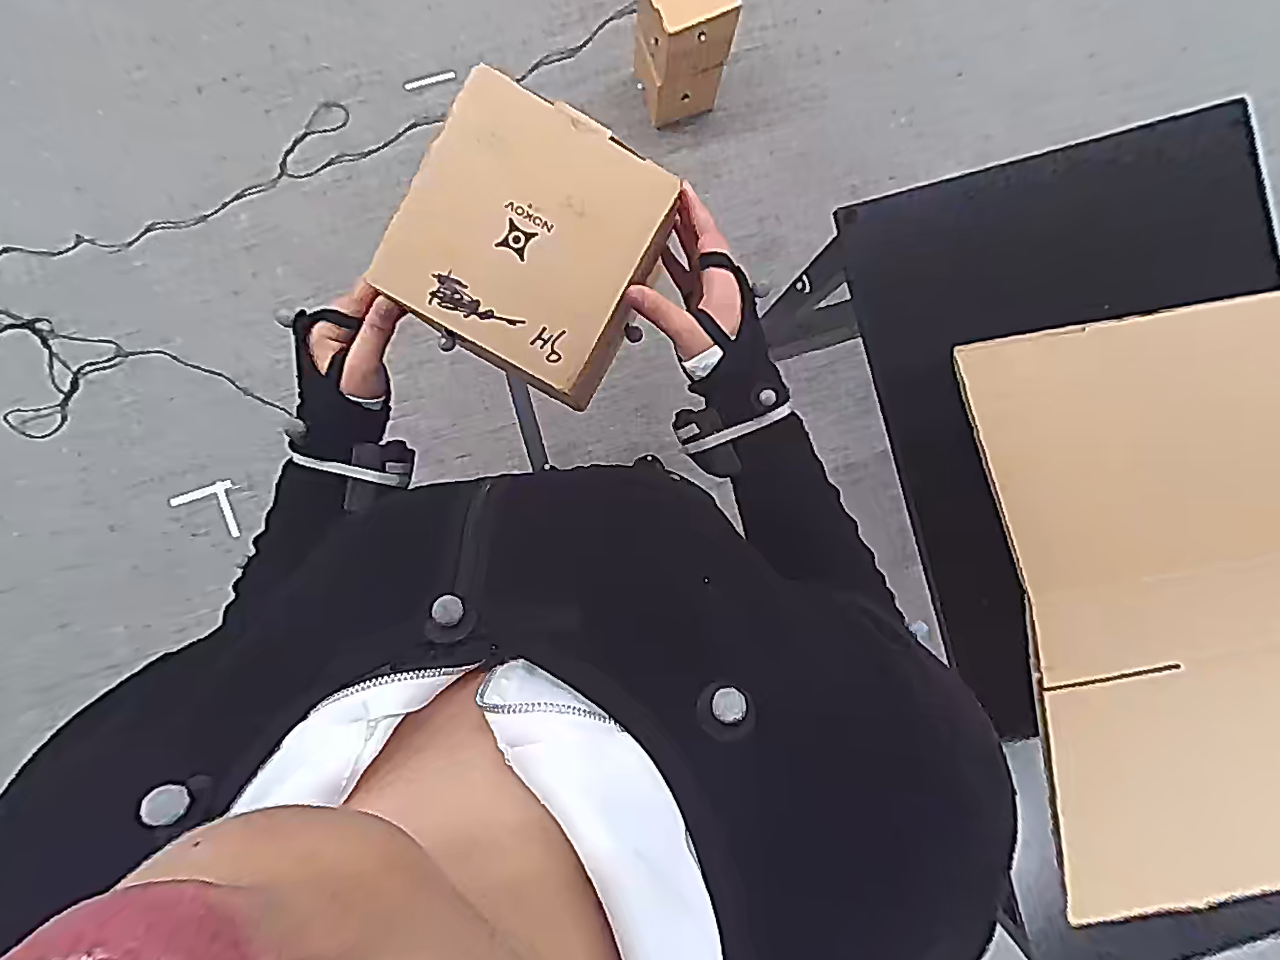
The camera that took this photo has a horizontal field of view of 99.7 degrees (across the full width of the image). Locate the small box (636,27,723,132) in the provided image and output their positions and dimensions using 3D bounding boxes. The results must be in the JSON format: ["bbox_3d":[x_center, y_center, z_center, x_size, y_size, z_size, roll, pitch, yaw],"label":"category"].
[{"bbox_3d":[0.095,-1.046,1.390,0.179,0.176,0.168,-20,92,0],"label":"small box"}]

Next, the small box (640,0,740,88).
[{"bbox_3d":[0.104,-1.045,1.228,0.179,0.176,0.168,-23,93,-2],"label":"small box"}]

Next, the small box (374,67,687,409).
[{"bbox_3d":[-0.080,-0.179,0.462,0.168,0.176,0.179,29,90,-1],"label":"small box"}]
